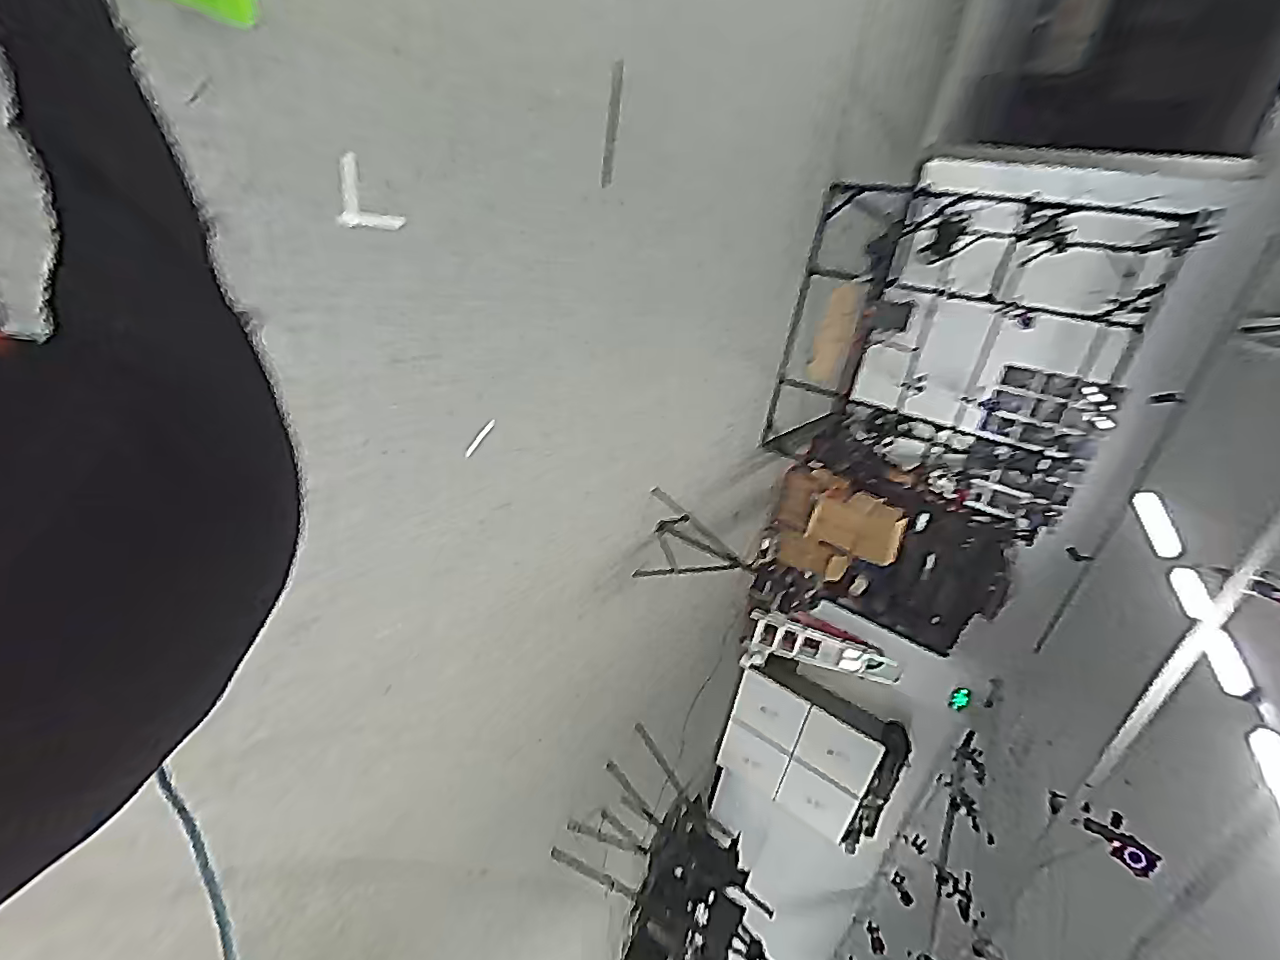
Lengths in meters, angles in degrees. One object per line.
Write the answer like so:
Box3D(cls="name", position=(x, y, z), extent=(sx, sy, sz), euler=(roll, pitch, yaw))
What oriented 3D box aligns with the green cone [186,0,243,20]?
Box3D(cls="green cone", position=(-0.698, -0.934, 0.902), extent=(0.202, 0.368, 0.200), euler=(-19, 126, -56))
